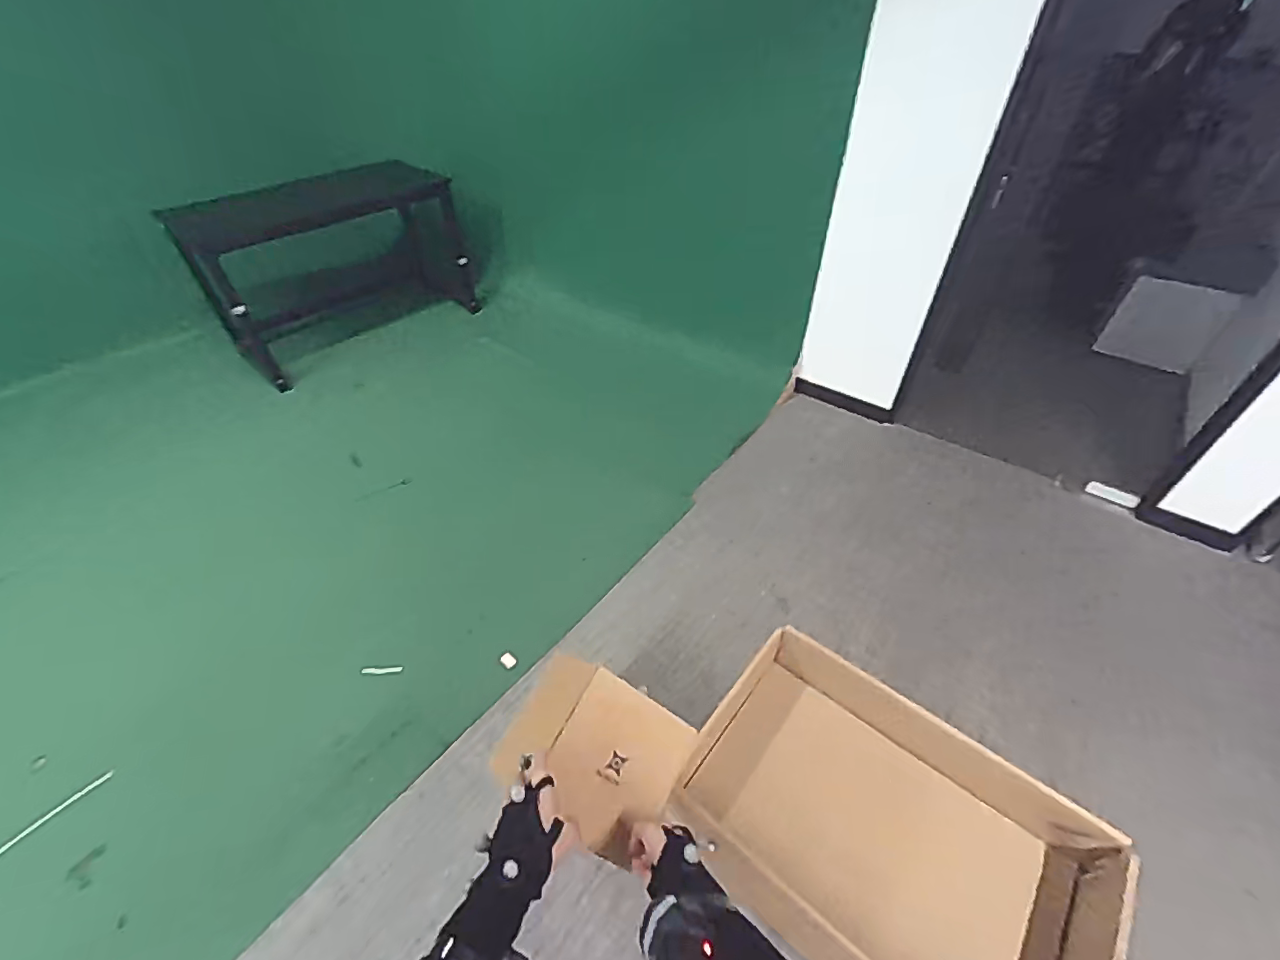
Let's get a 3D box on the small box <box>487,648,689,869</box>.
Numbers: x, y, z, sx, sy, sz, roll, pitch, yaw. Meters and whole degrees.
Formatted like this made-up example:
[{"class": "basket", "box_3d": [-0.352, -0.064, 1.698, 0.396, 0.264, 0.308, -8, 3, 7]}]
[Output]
[{"class": "small box", "box_3d": [-0.075, 0.340, 0.699, 0.168, 0.176, 0.179, 40, 68, -15]}]
